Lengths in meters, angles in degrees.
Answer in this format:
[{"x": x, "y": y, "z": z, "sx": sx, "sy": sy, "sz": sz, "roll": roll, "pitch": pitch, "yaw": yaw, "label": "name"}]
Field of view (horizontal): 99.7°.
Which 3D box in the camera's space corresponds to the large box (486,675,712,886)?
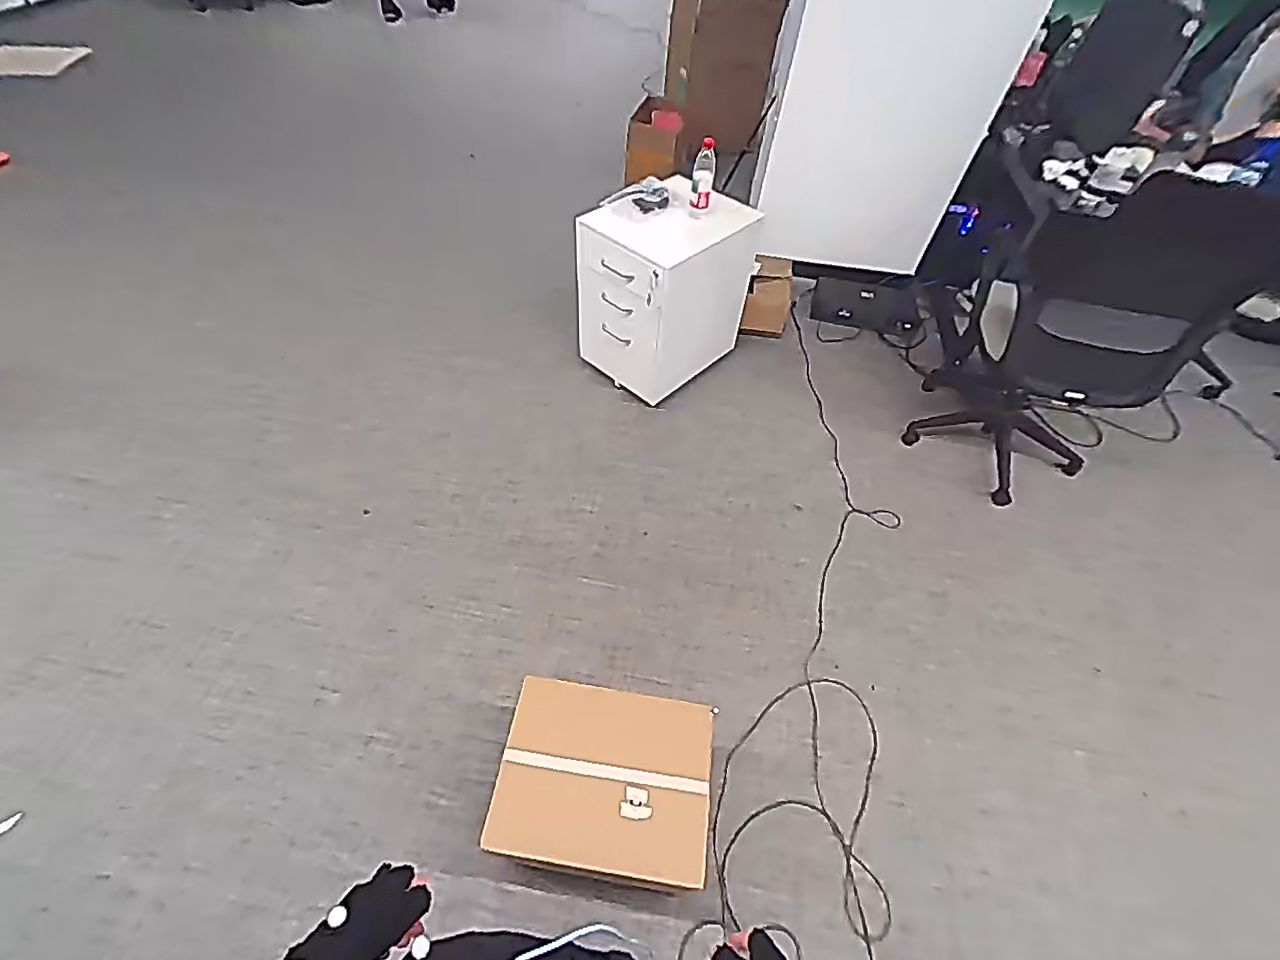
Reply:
[{"x": -0.076, "y": 0.654, "z": 1.169, "sx": 0.408, "sy": 0.320, "sz": 0.320, "roll": 9, "pitch": 52, "yaw": 2, "label": "large box"}]
